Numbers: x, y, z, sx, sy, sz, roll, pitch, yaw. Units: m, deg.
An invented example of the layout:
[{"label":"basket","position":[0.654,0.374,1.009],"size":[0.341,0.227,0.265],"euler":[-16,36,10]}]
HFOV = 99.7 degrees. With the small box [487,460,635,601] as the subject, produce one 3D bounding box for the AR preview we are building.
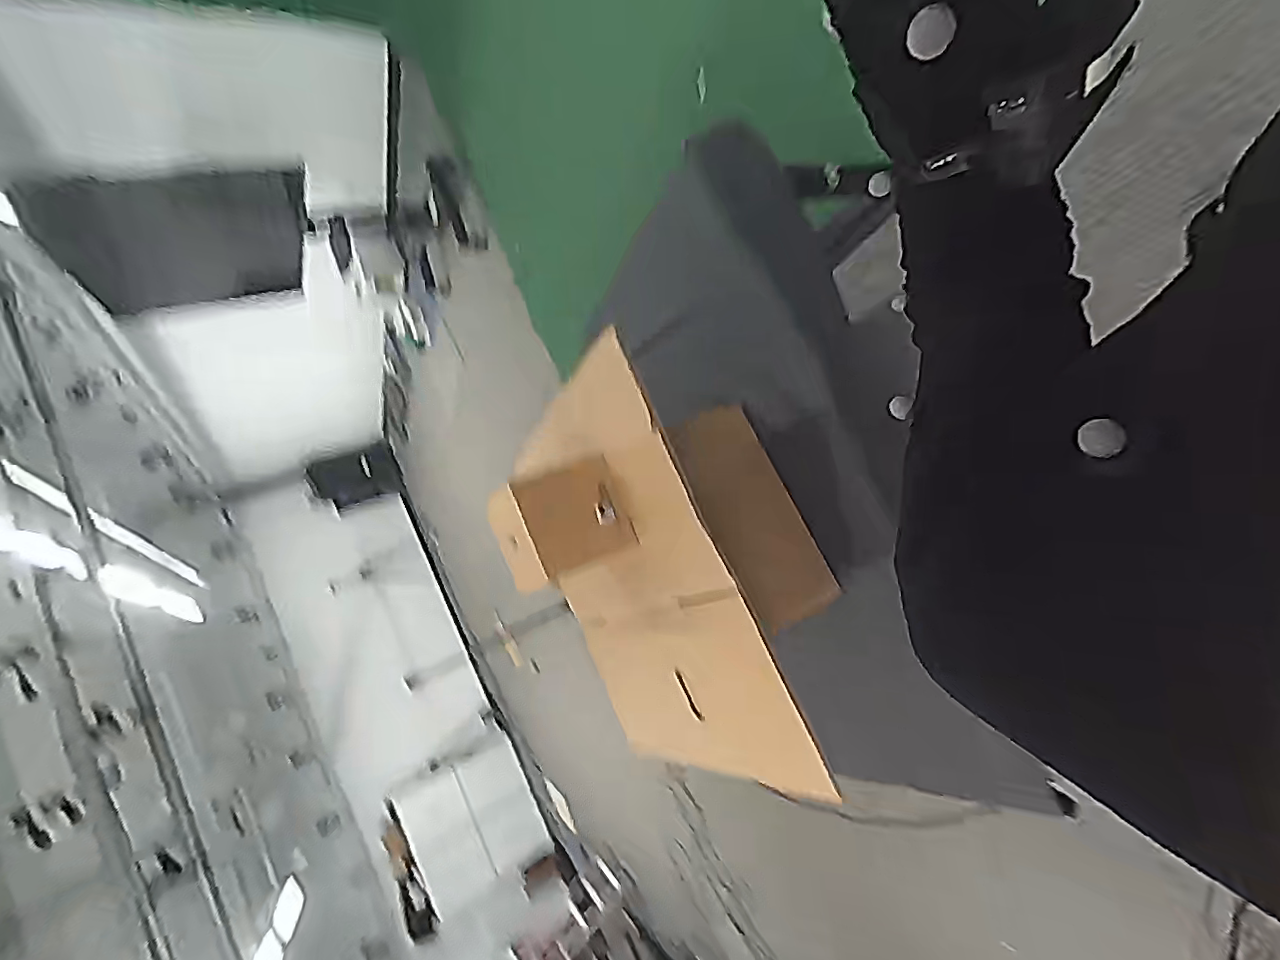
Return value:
[{"label":"small box","position":[-0.134,0.085,0.902],"size":[0.179,0.176,0.168],"euler":[-36,76,57]}]
